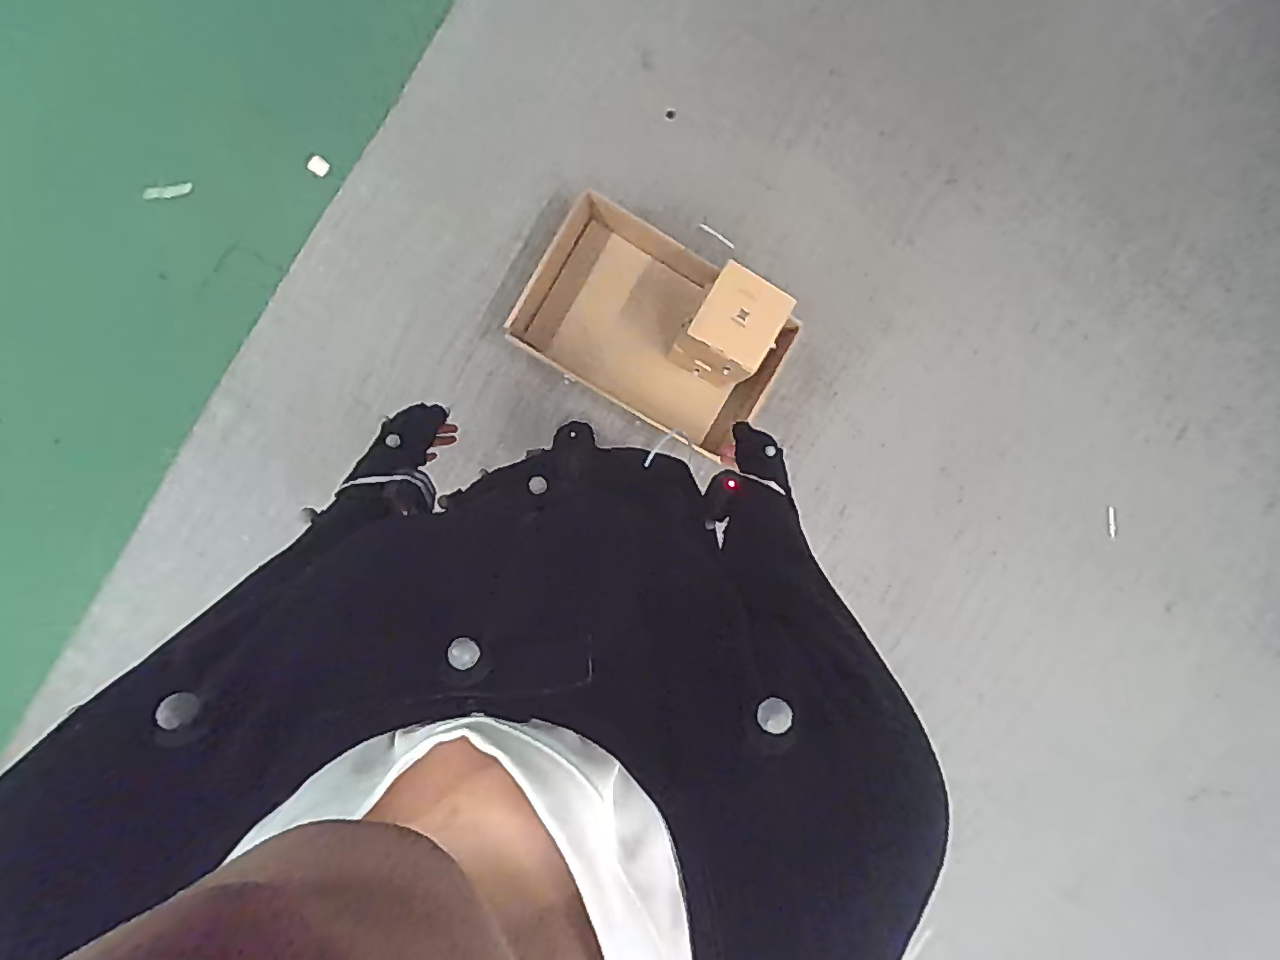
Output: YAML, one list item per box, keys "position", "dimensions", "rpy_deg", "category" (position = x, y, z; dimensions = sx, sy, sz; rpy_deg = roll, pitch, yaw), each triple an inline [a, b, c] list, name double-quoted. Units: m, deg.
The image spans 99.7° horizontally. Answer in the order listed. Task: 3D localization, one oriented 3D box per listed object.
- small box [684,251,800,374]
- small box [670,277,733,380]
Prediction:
- position: [0.206, -0.343, 1.154]
  dimensions: [0.168, 0.176, 0.179]
  rpy_deg: [31, 92, -5]
  category: "small box"
- position: [0.183, -0.362, 1.334]
  dimensions: [0.168, 0.176, 0.179]
  rpy_deg: [27, 92, -3]
  category: "small box"
